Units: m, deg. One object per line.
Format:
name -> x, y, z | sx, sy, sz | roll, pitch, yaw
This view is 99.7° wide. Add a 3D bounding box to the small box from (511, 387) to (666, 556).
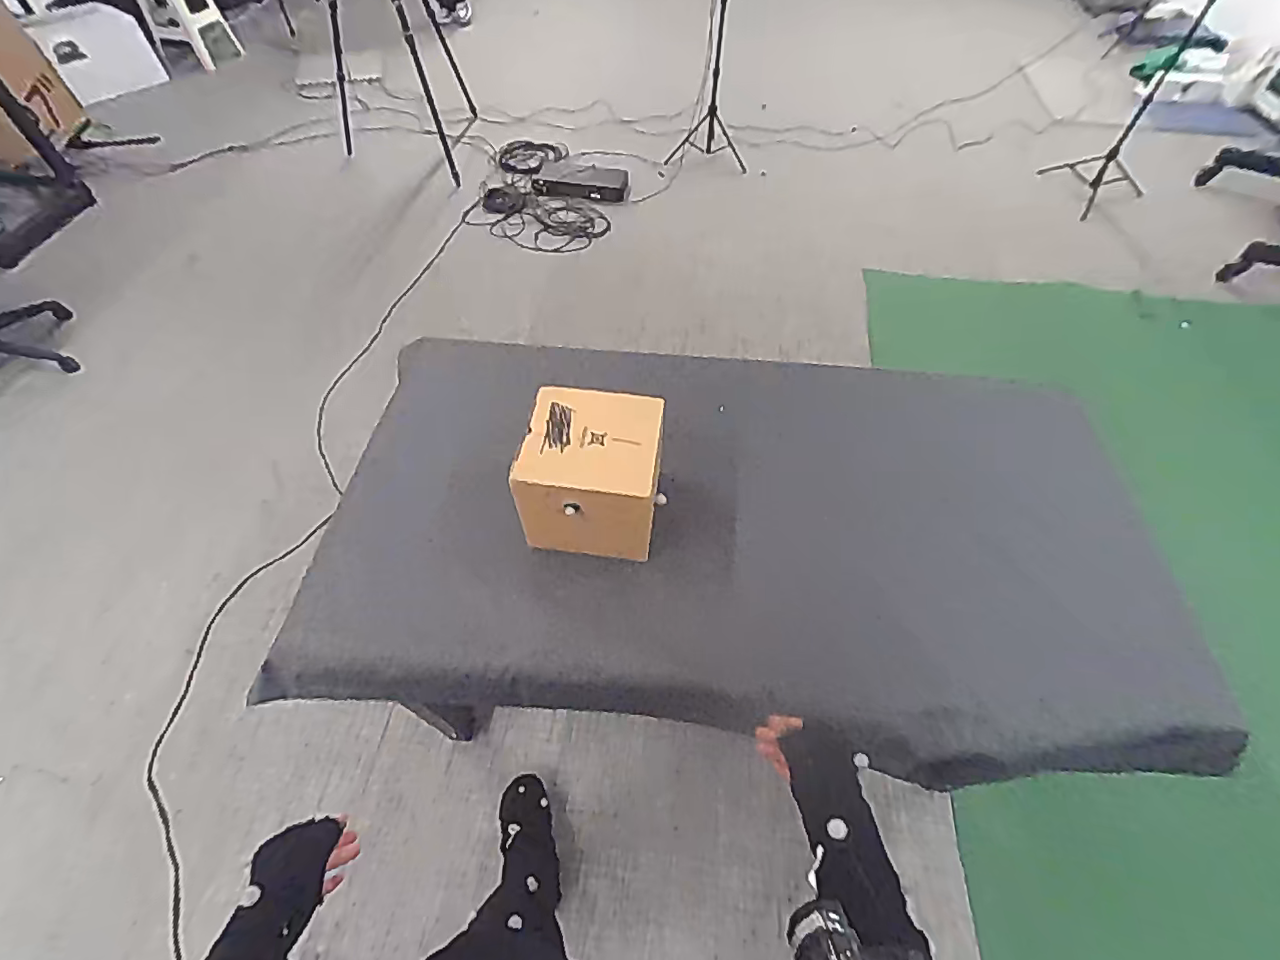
small box -> -0.063, -0.007, 0.764 | 0.179, 0.176, 0.168 | 7, 55, 3
